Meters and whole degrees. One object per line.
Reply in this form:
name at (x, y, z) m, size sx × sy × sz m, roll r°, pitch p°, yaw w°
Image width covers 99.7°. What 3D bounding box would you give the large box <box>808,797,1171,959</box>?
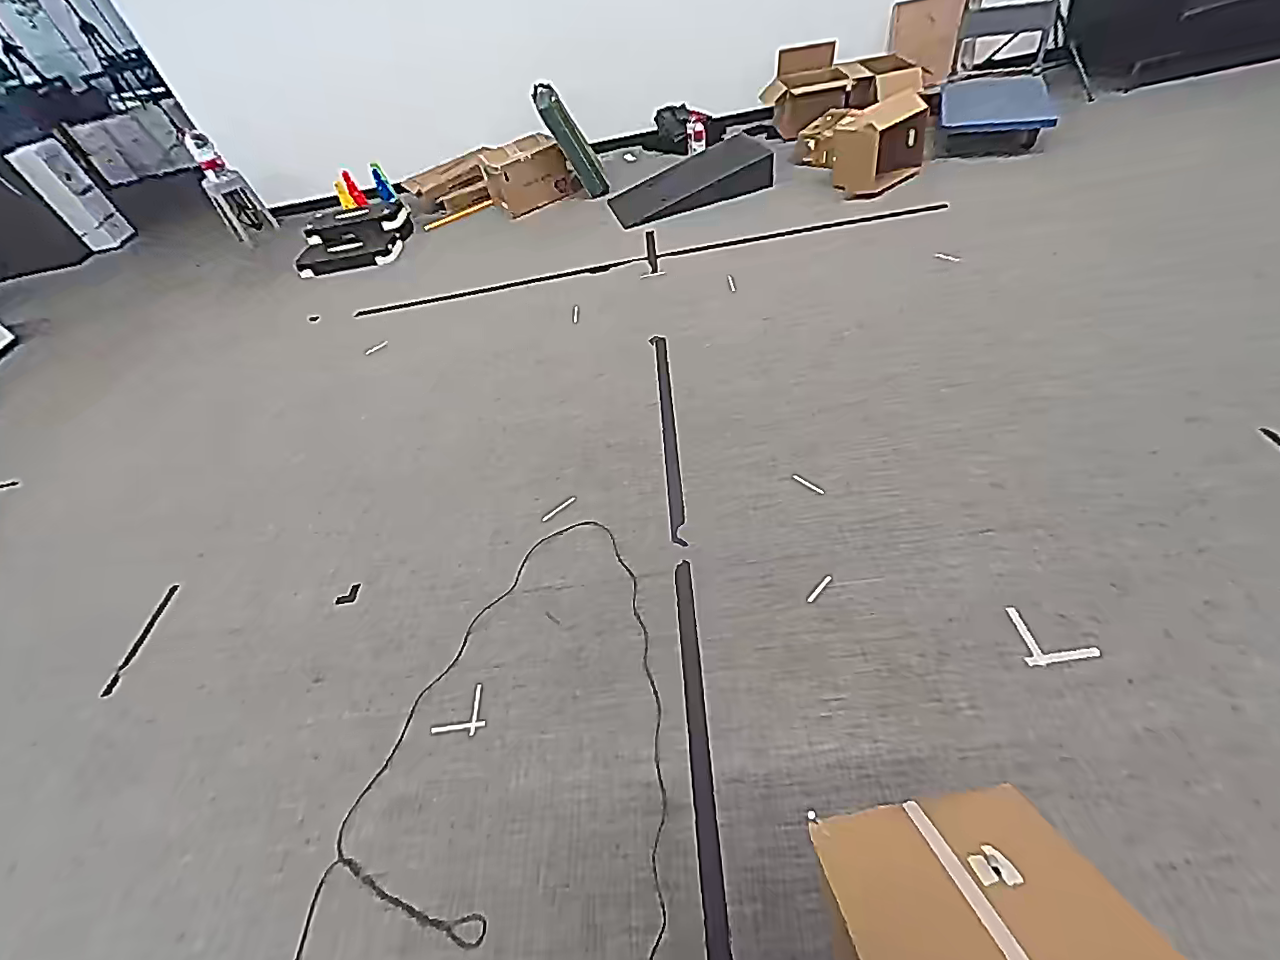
large box at (0.437, 0.674, 0.638) m, size 0.320 × 0.320 × 0.408 m, roll -11°, pitch 4°, yaw 1°
